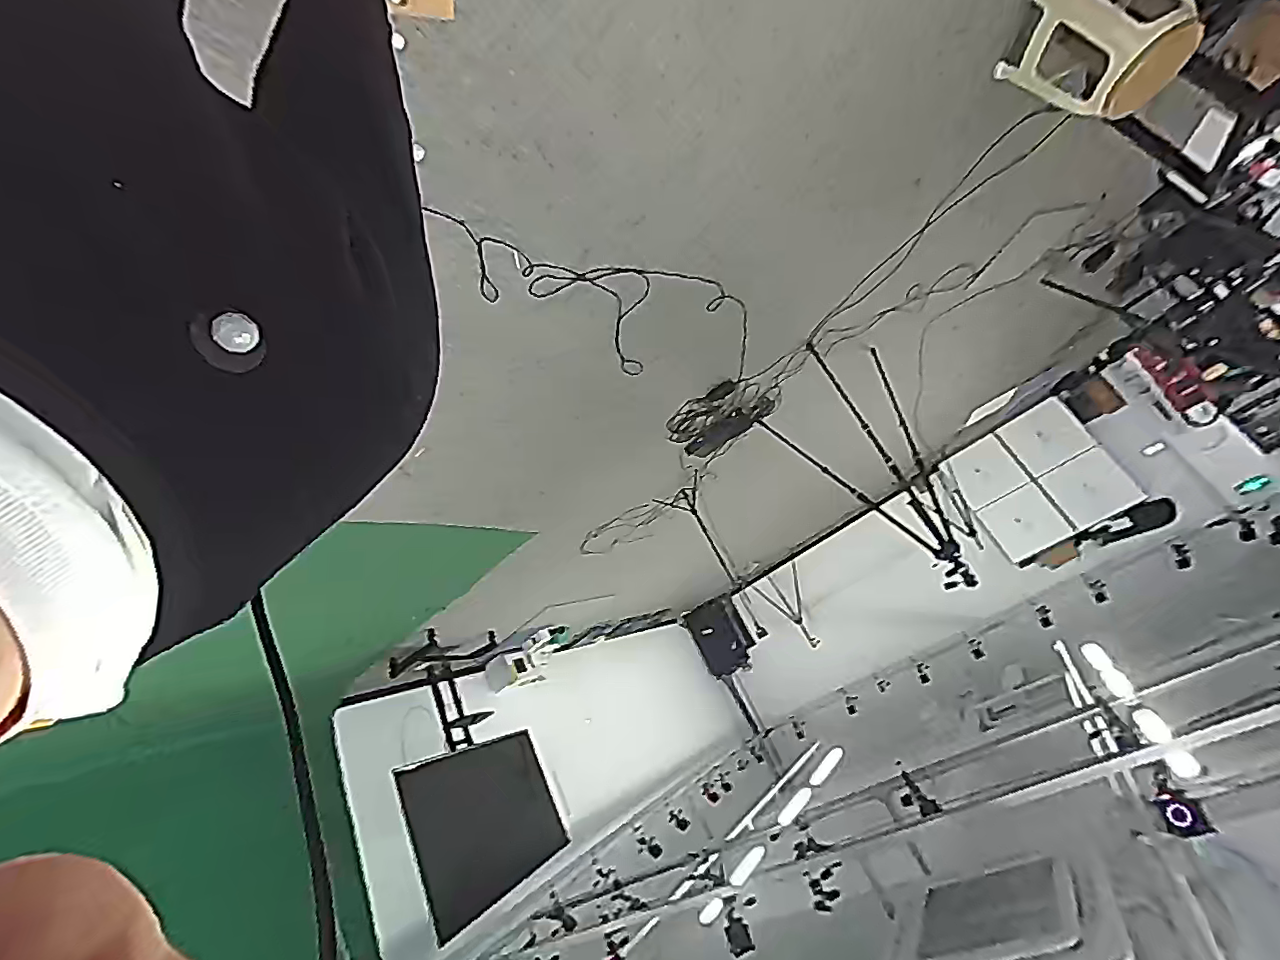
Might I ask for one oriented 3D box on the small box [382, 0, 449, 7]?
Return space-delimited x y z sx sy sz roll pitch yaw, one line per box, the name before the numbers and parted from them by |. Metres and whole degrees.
small box | -0.308 -0.669 0.589 0.168 0.179 0.176 -12 174 -16
